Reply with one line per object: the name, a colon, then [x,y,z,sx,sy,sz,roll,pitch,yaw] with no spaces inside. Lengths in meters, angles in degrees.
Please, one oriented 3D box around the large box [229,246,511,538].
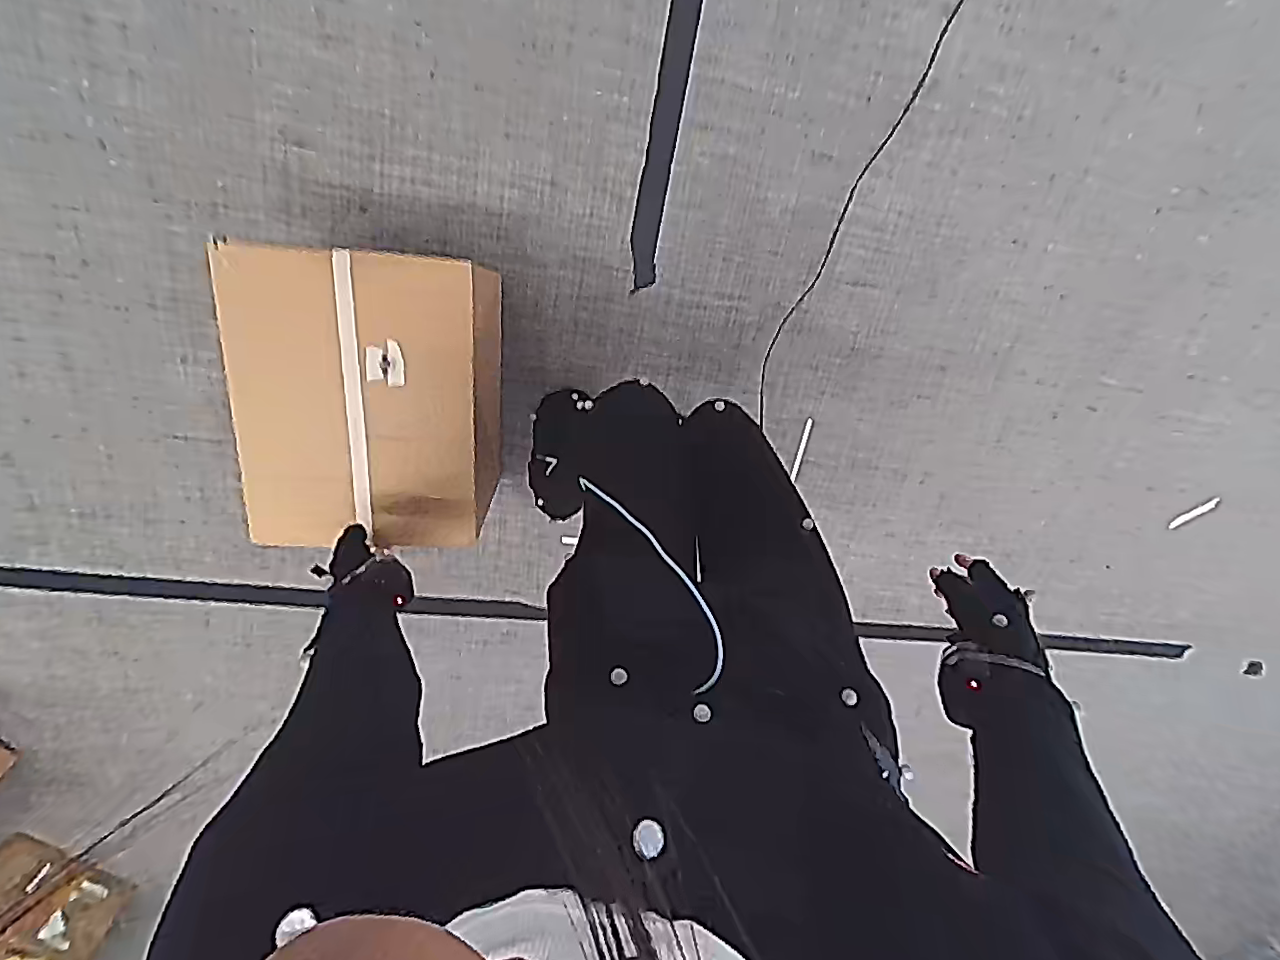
large box: [-0.392,-0.146,0.897,0.320,0.320,0.408,2,107,-8]
